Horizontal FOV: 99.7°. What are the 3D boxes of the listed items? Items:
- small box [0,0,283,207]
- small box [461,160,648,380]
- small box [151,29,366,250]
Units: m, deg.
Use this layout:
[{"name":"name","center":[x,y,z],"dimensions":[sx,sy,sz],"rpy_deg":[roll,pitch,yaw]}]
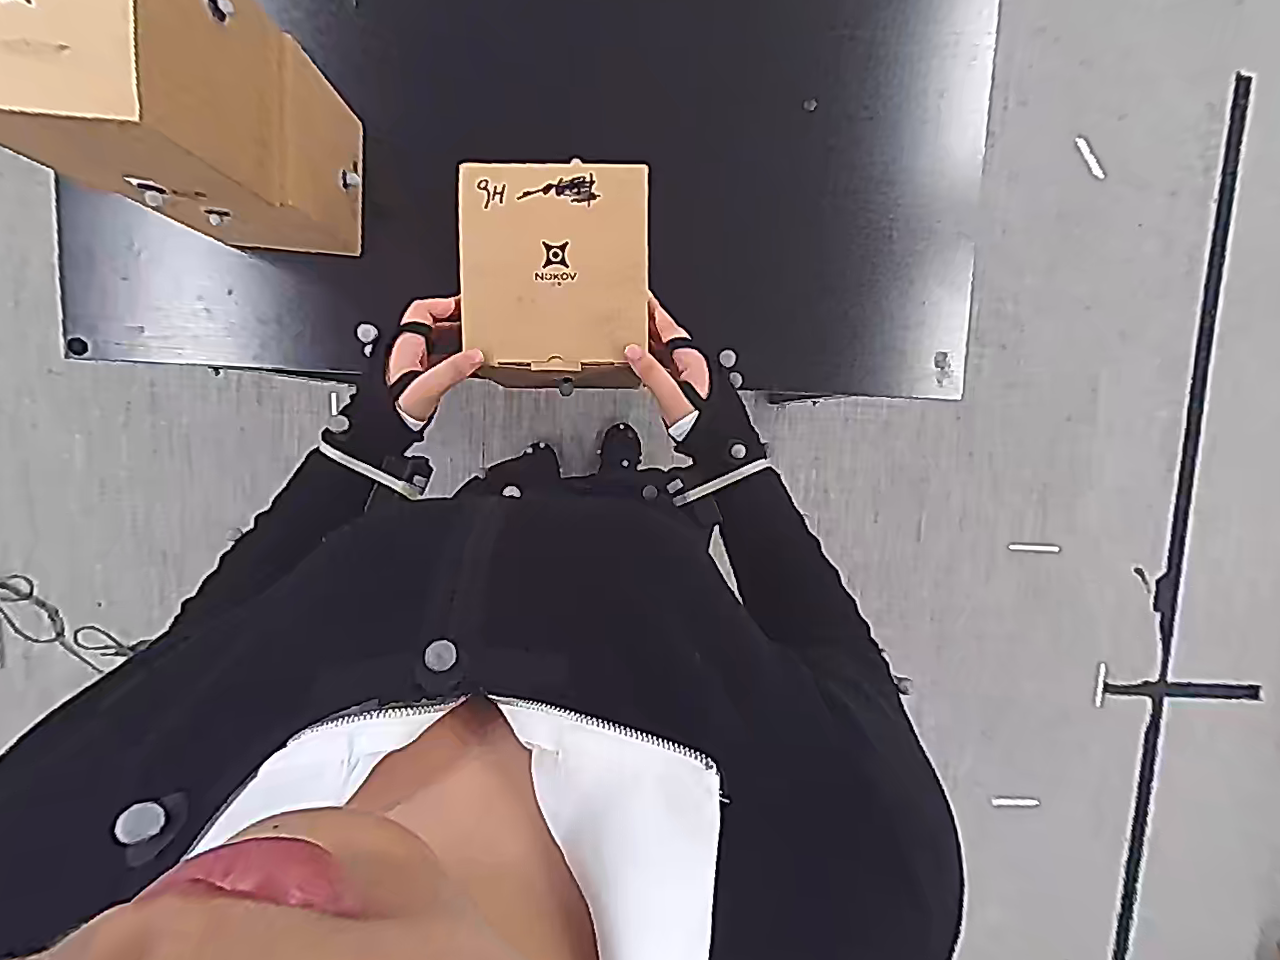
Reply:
[{"name":"small box","center":[-0.432,-0.358,0.454],"dimensions":[0.168,0.176,0.179],"rpy_deg":[3,97,-3]},{"name":"small box","center":[-0.075,-0.197,0.555],"dimensions":[0.168,0.176,0.179],"rpy_deg":[-1,94,-1]},{"name":"small box","center":[-0.439,-0.376,0.615],"dimensions":[0.179,0.176,0.168],"rpy_deg":[4,96,-5]}]
